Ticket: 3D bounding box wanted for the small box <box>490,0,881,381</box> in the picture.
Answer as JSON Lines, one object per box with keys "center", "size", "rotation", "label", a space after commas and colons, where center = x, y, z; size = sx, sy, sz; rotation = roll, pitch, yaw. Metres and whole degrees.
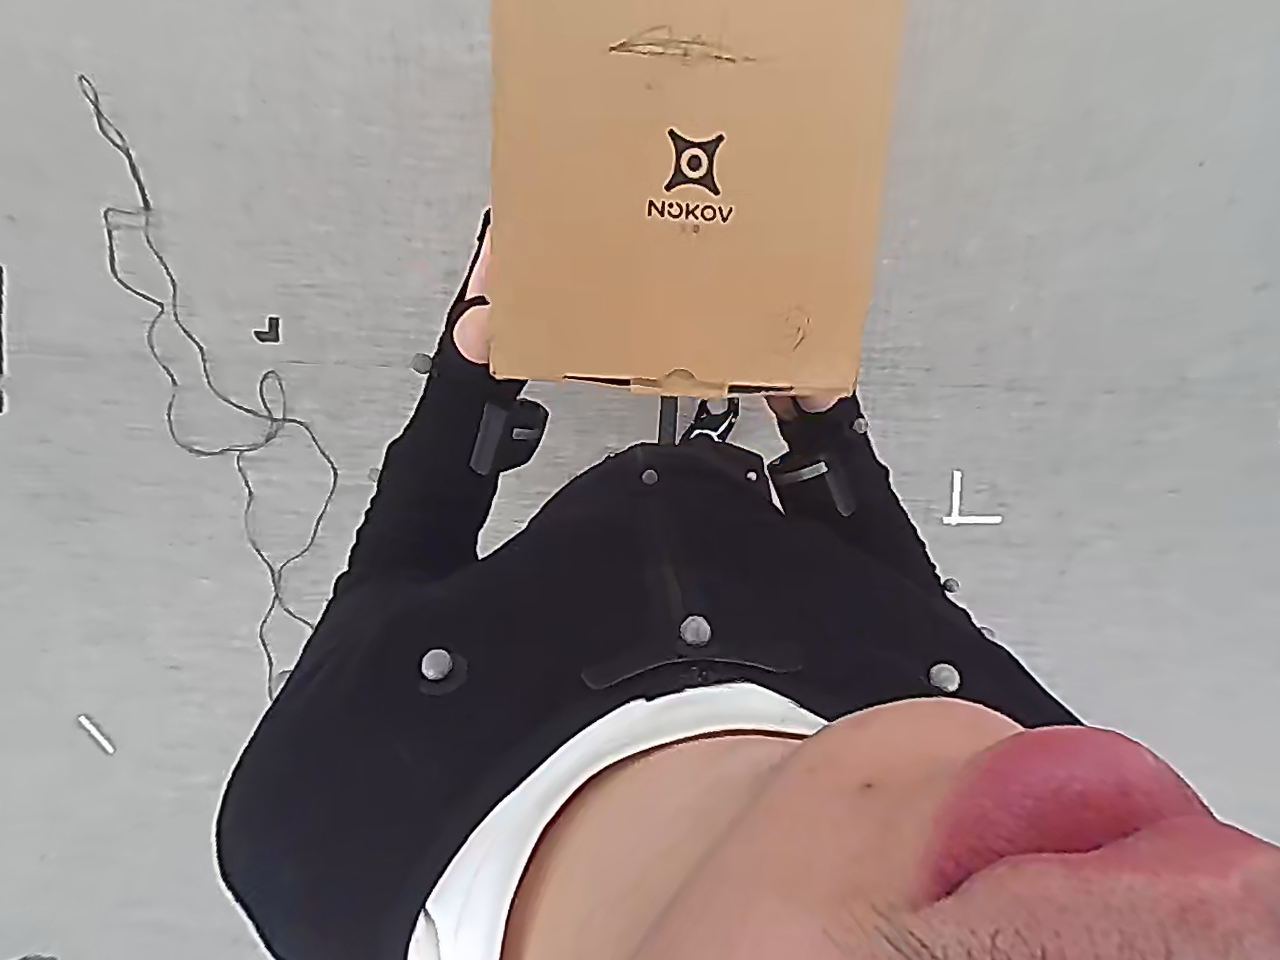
{"center": [0.011, -0.149, 0.313], "size": [0.168, 0.176, 0.179], "rotation": [0, 100, -6], "label": "small box"}
